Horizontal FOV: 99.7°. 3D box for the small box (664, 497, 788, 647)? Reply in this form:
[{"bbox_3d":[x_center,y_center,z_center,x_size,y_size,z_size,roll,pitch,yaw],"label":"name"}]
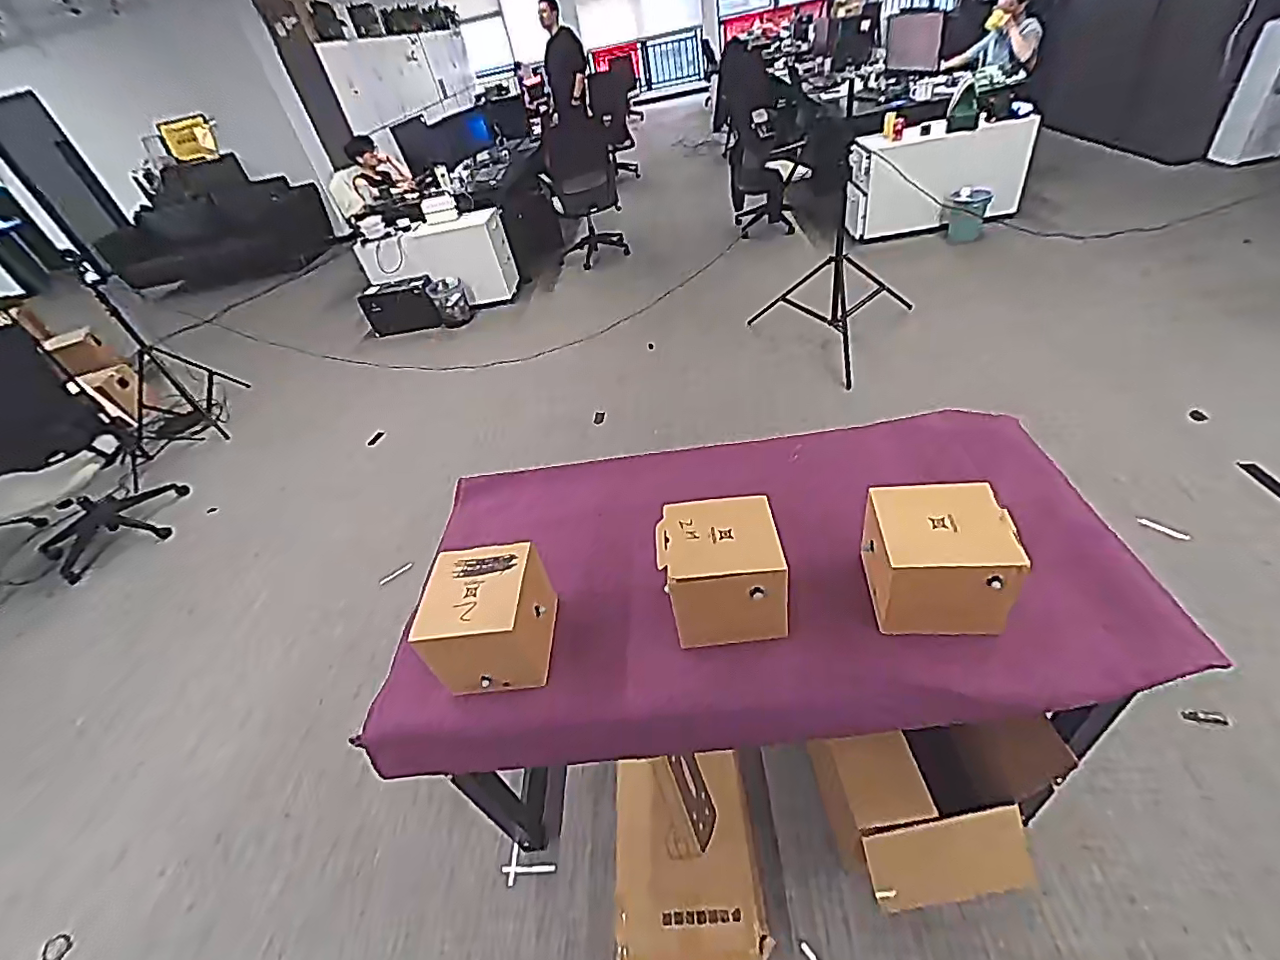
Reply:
[{"bbox_3d":[0.138,0.153,0.885,0.179,0.176,0.168,-8,38,6],"label":"small box"}]

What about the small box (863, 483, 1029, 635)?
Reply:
[{"bbox_3d":[0.451,0.124,0.835,0.179,0.176,0.168,-3,41,11],"label":"small box"}]
